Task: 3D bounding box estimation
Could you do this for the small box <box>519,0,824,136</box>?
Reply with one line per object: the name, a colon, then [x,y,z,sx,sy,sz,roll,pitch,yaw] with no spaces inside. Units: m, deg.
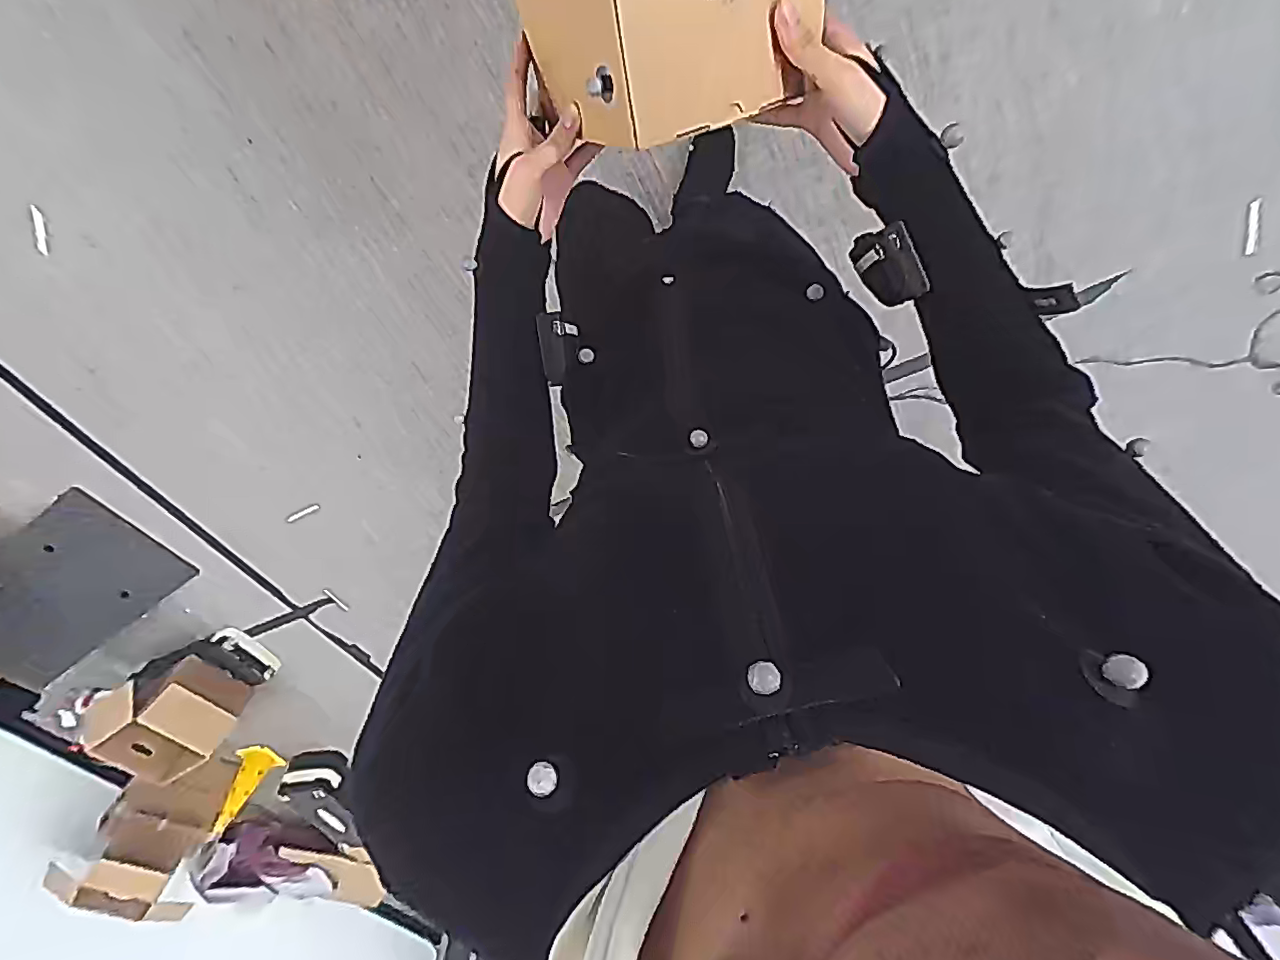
small box: [0.011,-0.370,0.385,0.168,0.176,0.179,-28,134,-15]
